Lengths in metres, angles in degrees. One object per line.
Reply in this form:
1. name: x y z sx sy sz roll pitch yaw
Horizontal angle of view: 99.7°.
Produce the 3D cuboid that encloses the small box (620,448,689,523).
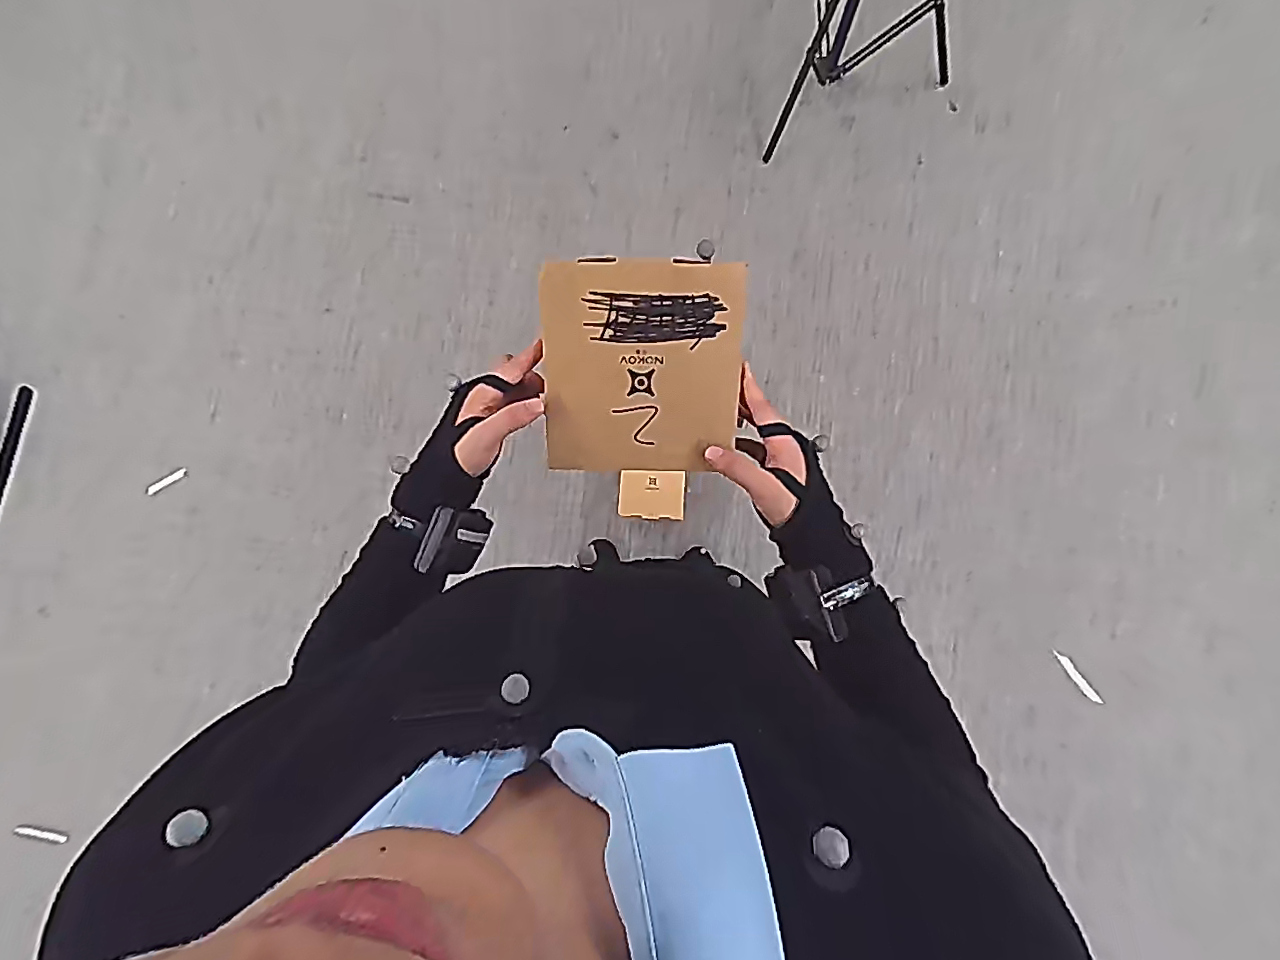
1. small box: 0.039 0.019 1.441 0.168 0.176 0.179 3 84 3
